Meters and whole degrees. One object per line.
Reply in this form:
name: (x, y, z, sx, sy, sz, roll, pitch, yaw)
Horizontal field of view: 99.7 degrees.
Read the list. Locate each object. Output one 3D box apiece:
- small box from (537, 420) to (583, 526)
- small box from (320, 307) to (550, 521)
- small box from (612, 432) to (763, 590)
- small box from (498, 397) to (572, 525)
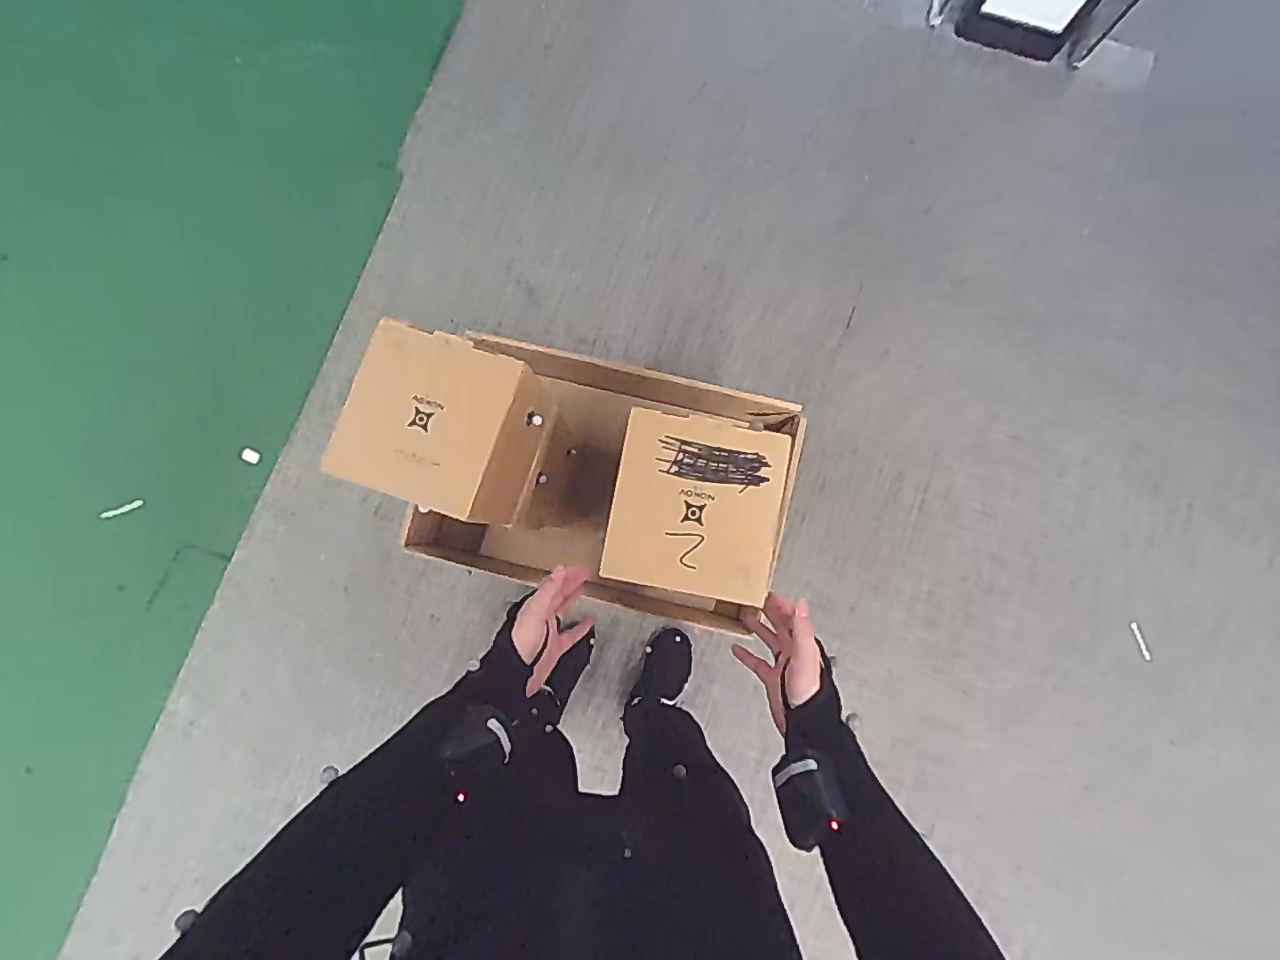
small box: (-0.206, -0.022, 0.945, 0.168, 0.176, 0.179, 14, 84, 4)
small box: (-0.213, -0.062, 0.620, 0.168, 0.176, 0.179, 20, 85, 4)
small box: (0.063, 0.045, 0.766, 0.168, 0.176, 0.179, 12, 84, 1)
small box: (-0.208, -0.039, 0.782, 0.168, 0.176, 0.179, 18, 83, 3)
